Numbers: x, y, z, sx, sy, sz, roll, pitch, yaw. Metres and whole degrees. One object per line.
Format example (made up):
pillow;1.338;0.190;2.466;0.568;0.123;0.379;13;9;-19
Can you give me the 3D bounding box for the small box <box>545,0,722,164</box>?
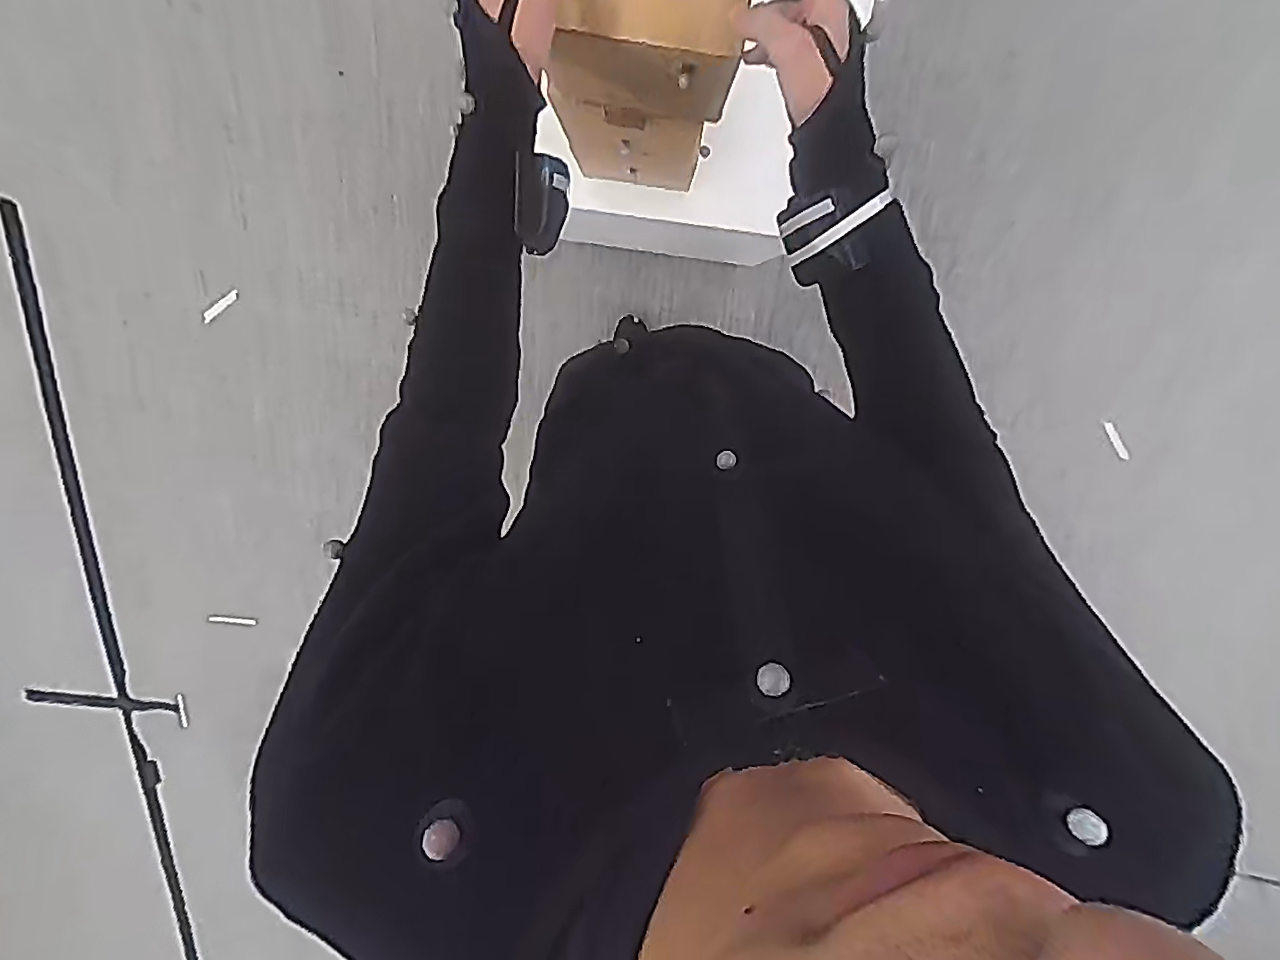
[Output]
small box;-0.003;-0.488;0.612;0.168;0.176;0.179;10;107;-2
